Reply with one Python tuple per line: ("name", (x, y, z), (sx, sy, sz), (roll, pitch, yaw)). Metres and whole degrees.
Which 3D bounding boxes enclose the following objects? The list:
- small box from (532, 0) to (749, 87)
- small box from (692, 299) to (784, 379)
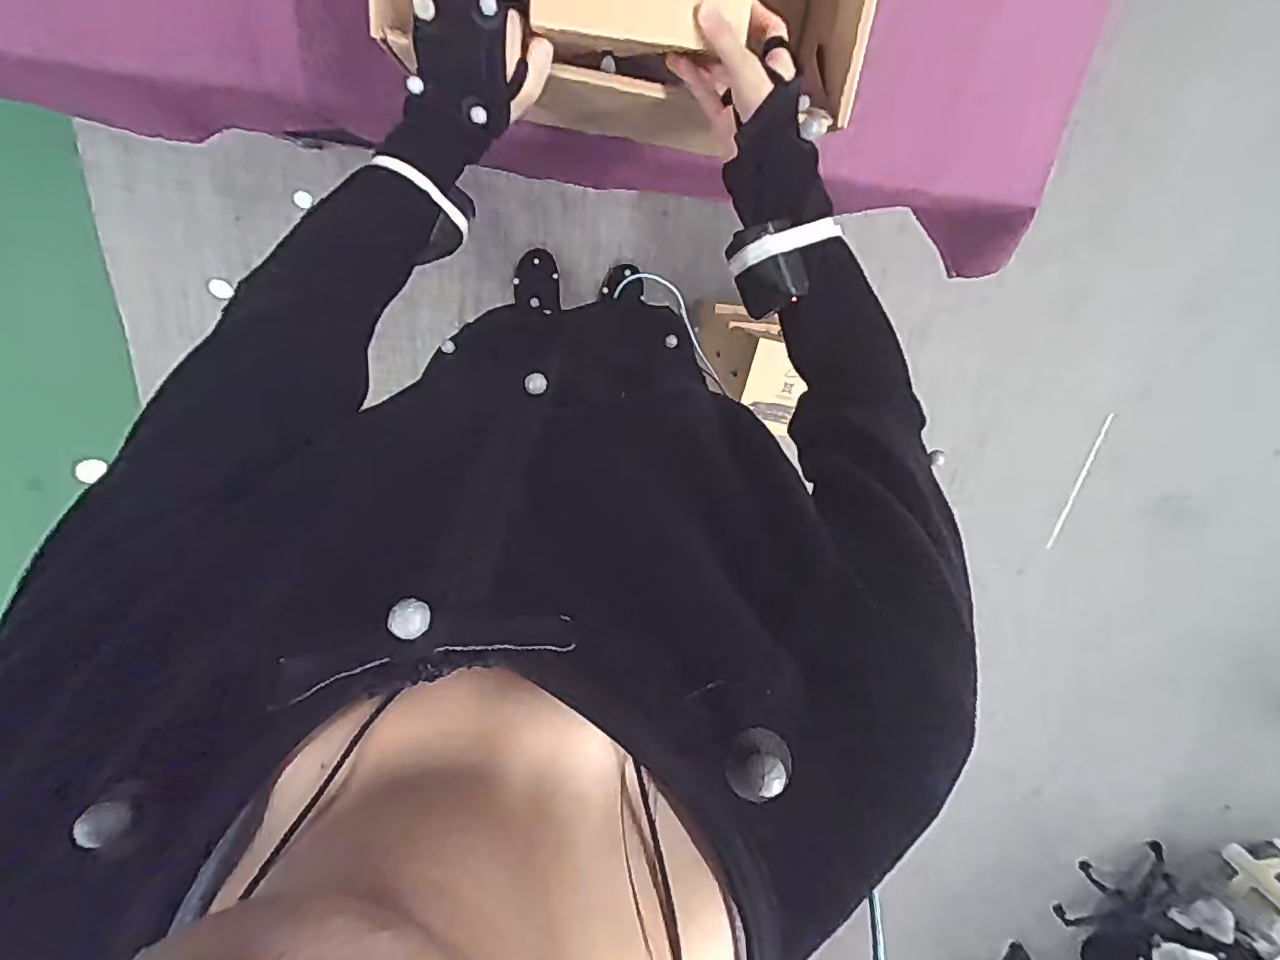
("small box", (0.003, -0.447, 0.447), (0.168, 0.176, 0.179), (3, 118, -6))
("small box", (0.242, -0.365, 1.383), (0.179, 0.176, 0.168), (3, 113, -8))
